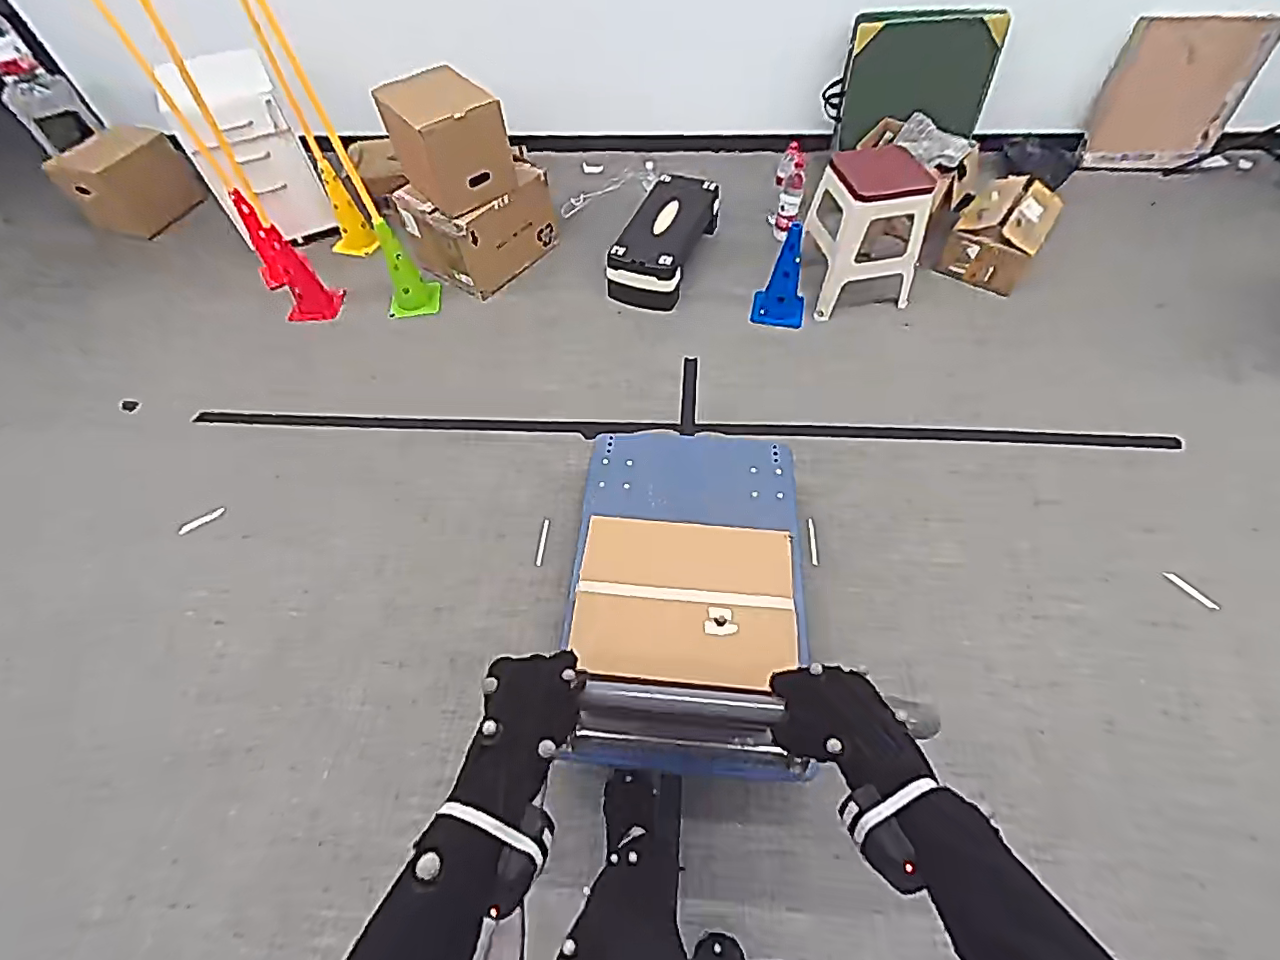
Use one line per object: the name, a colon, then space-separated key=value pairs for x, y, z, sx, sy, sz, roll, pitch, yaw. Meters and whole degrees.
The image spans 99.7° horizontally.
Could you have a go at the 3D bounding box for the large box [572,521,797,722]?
large box: x=0.086 y=0.307 z=1.150 sx=0.408 sy=0.320 sz=0.320 roll=4 pitch=56 yaw=3
